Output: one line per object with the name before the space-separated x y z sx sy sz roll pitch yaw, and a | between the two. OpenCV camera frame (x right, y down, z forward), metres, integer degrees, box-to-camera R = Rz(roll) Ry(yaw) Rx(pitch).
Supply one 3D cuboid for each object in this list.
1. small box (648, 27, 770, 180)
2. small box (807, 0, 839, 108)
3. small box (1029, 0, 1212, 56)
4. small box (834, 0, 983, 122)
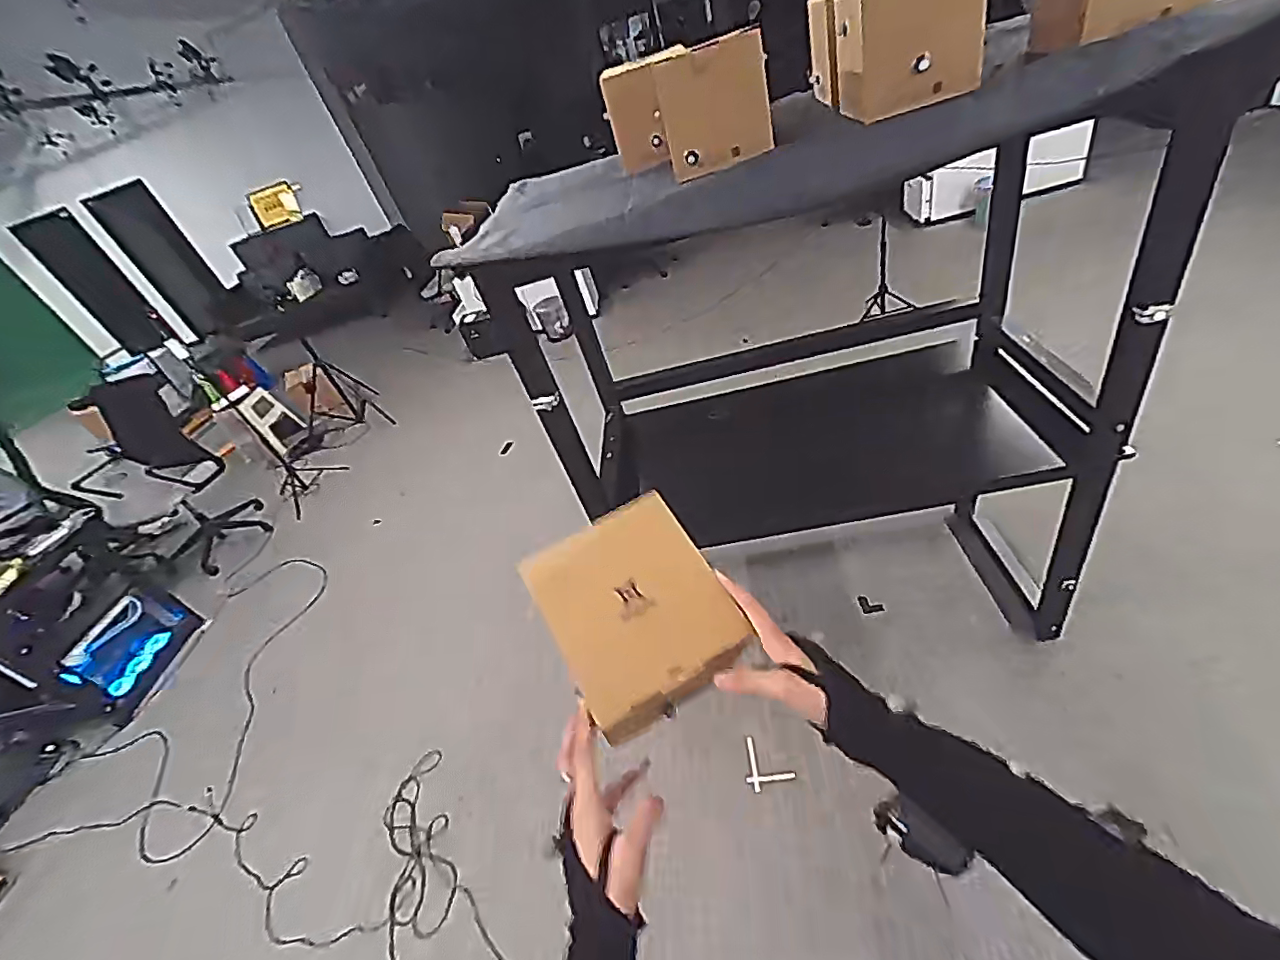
small box | 0.116 -0.623 0.904 0.168 0.176 0.179 -11 37 12
small box | 0.425 -0.841 1.031 0.179 0.176 0.168 -10 38 12
small box | 0.703 -0.747 0.790 0.168 0.176 0.179 -10 38 14
small box | 0.406 -0.679 0.840 0.168 0.176 0.179 -11 37 13
